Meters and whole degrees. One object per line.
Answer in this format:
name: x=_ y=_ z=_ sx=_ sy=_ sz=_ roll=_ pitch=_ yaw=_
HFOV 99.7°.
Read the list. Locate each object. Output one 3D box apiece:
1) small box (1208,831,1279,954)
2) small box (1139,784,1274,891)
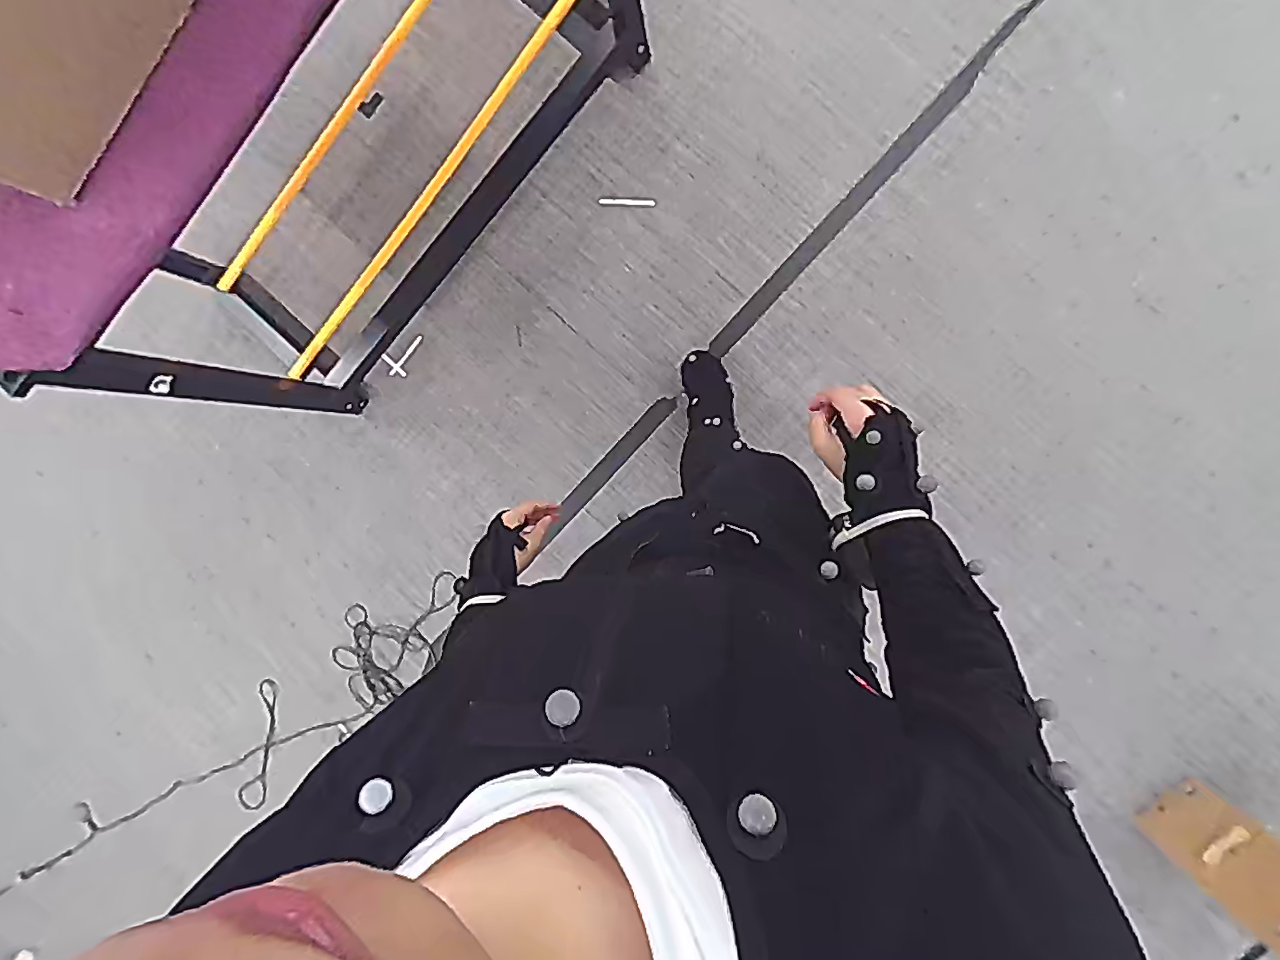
small box: x=1.232 y=0.801 z=0.991 sx=0.168 sy=0.176 sz=0.179 roll=38 pitch=98 yaw=4
small box: x=1.245 y=0.789 z=1.153 sx=0.179 sy=0.176 sz=0.168 roll=45 pitch=98 yaw=3
